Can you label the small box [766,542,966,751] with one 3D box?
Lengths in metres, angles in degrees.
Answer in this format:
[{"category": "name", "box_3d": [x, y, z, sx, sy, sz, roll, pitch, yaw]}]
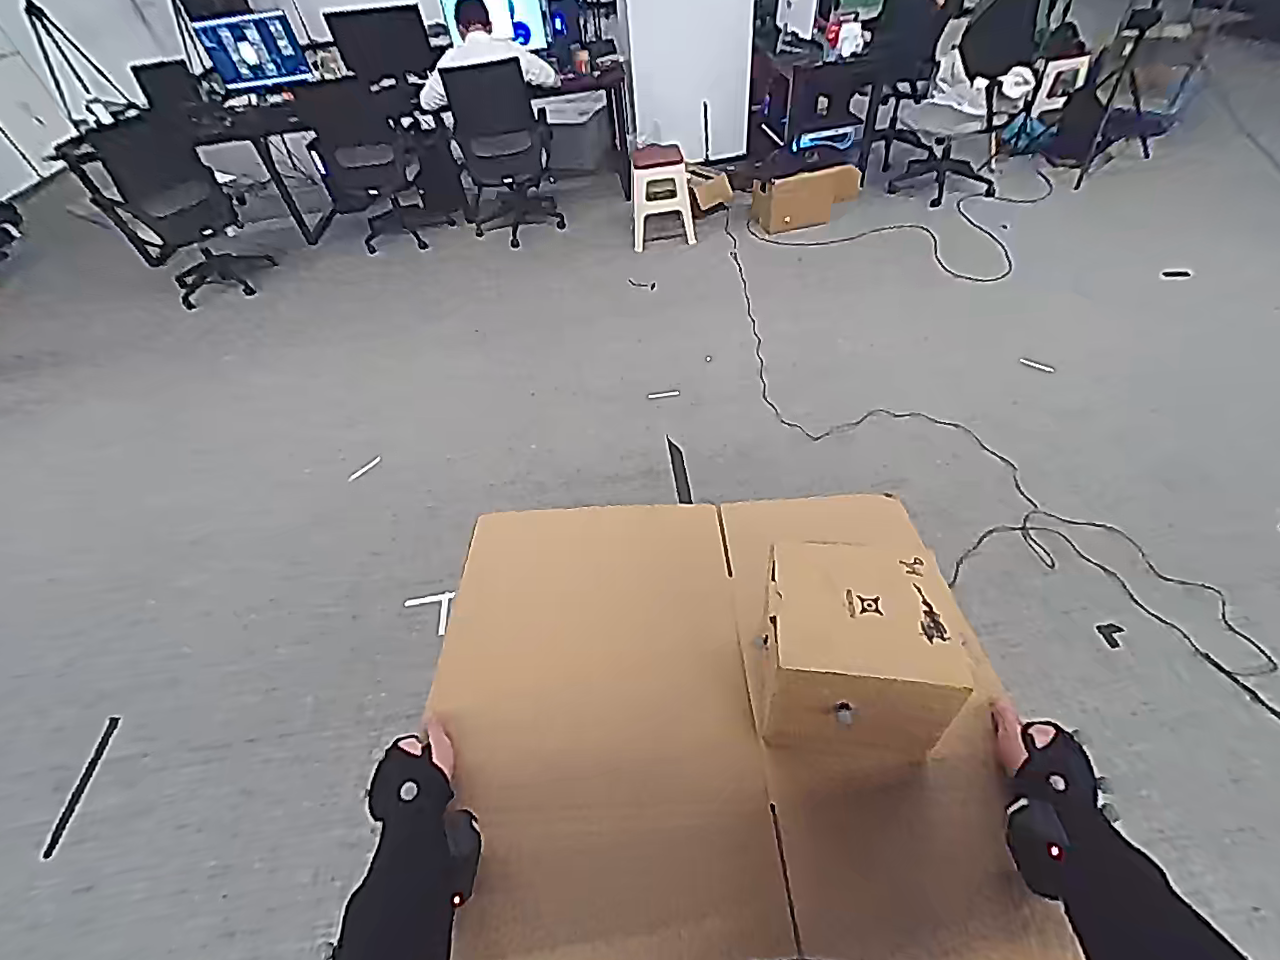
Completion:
[{"category": "small box", "box_3d": [0.236, 0.190, 0.619, 0.179, 0.176, 0.168, 2, 43, 10]}]
